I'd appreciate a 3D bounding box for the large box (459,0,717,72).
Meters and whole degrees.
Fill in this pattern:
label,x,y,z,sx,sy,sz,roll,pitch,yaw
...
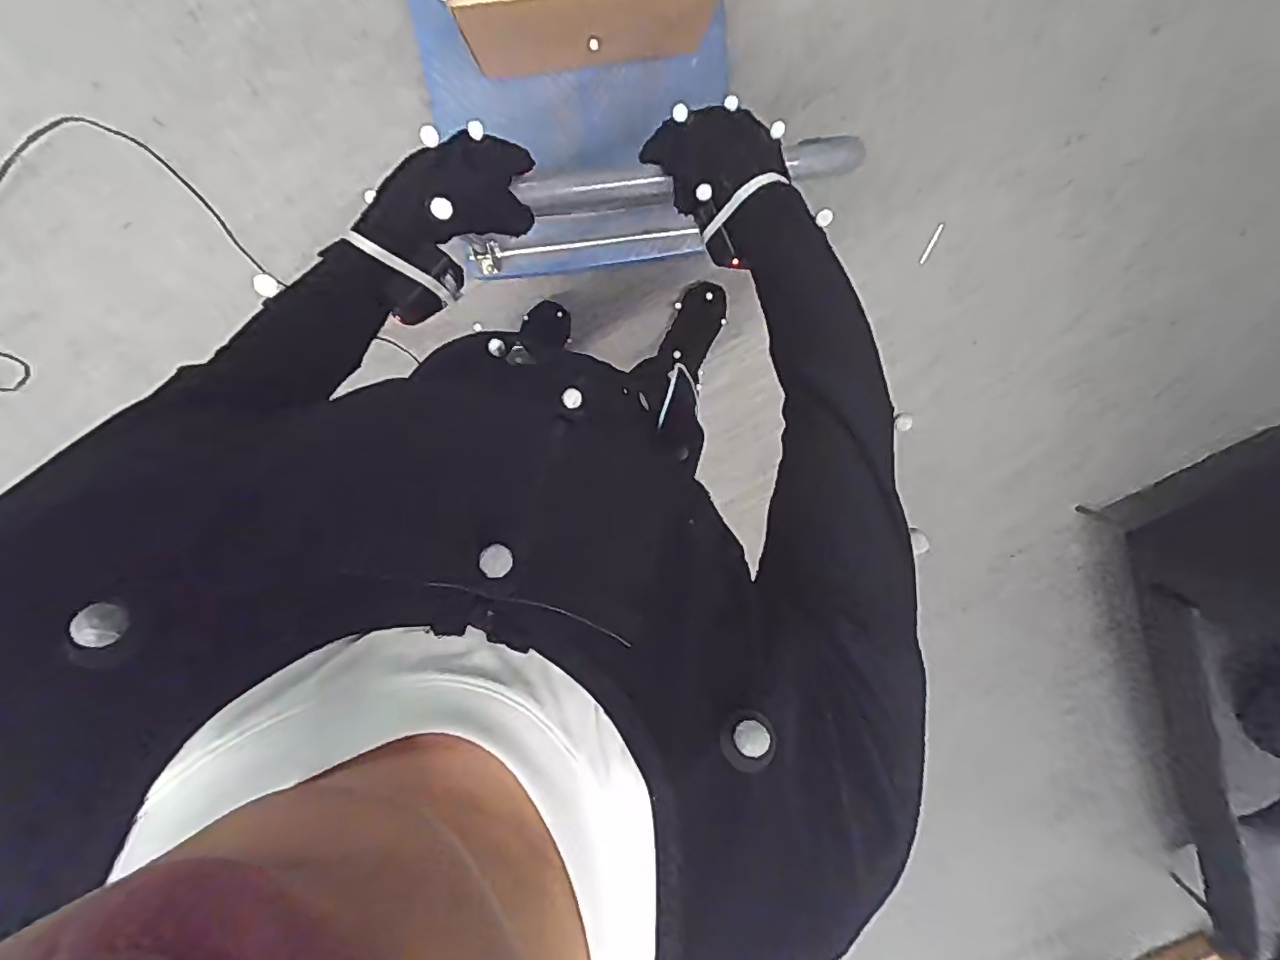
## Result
label,x,y,z,sx,sy,sz,roll,pitch,yaw
large box,-0.091,-0.889,0.839,0.408,0.320,0.320,-10,112,-2
